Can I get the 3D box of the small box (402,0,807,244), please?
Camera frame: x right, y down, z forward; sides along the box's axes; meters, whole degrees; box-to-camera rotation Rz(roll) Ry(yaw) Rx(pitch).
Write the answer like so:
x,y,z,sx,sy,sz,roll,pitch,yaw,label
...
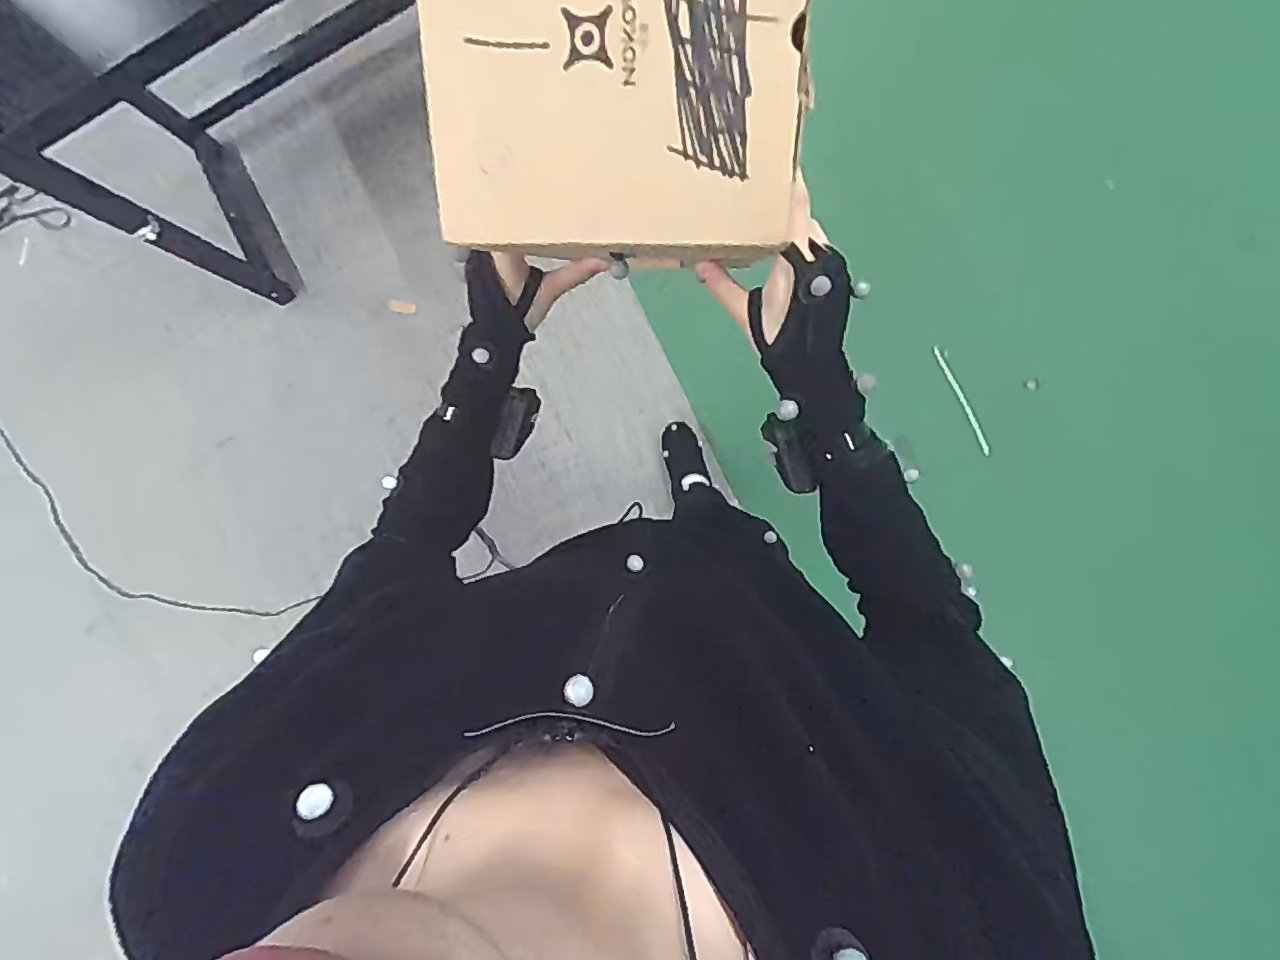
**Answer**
x,y,z,sx,sy,sz,roll,pitch,yaw,label
-0.008,-0.228,0.301,0.179,0.176,0.168,4,110,8,small box
